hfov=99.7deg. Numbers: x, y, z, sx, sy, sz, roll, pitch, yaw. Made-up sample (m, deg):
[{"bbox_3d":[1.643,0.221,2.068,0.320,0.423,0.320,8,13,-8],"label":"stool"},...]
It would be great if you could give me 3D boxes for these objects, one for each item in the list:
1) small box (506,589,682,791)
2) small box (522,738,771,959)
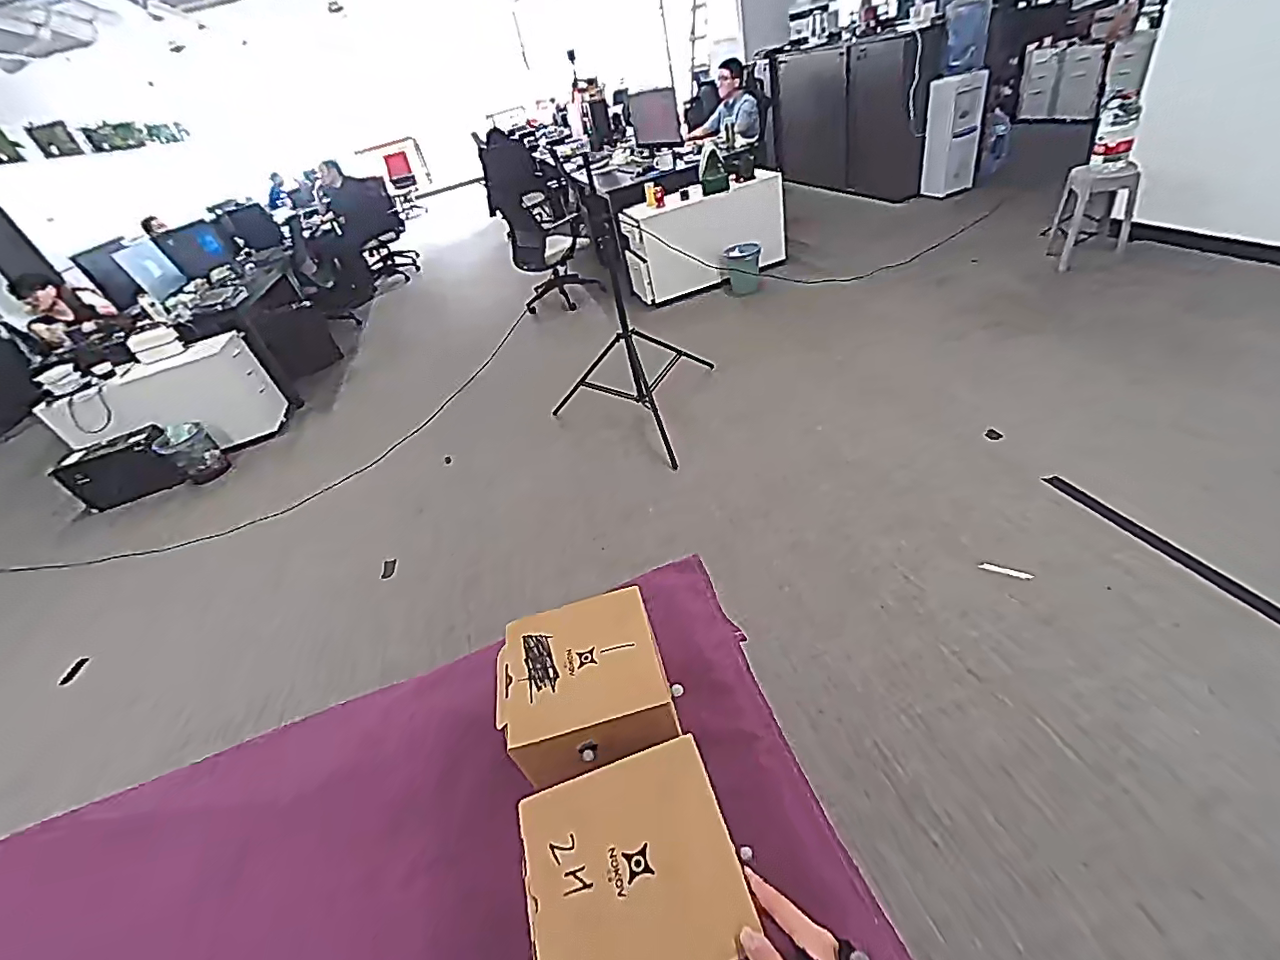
[{"bbox_3d":[-0.054,0.270,0.672,0.179,0.176,0.168,-16,39,-3],"label":"small box"},{"bbox_3d":[0.007,0.379,0.504,0.179,0.176,0.168,-20,42,-4],"label":"small box"}]
